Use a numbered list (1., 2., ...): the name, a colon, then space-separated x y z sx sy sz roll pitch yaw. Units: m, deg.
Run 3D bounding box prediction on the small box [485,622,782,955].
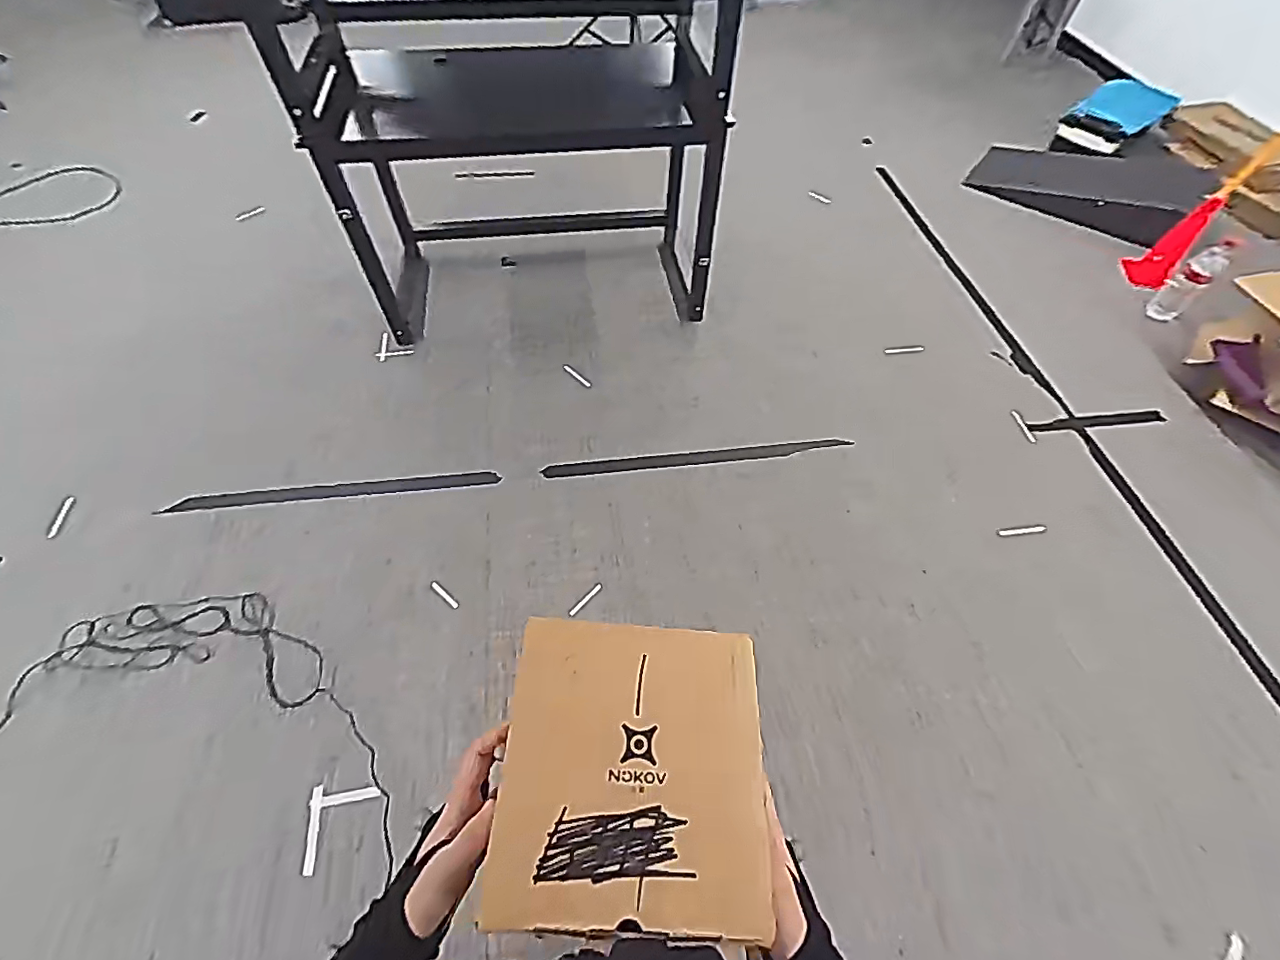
1. small box: -0.006 0.225 0.404 0.168 0.176 0.179 6 54 -4
